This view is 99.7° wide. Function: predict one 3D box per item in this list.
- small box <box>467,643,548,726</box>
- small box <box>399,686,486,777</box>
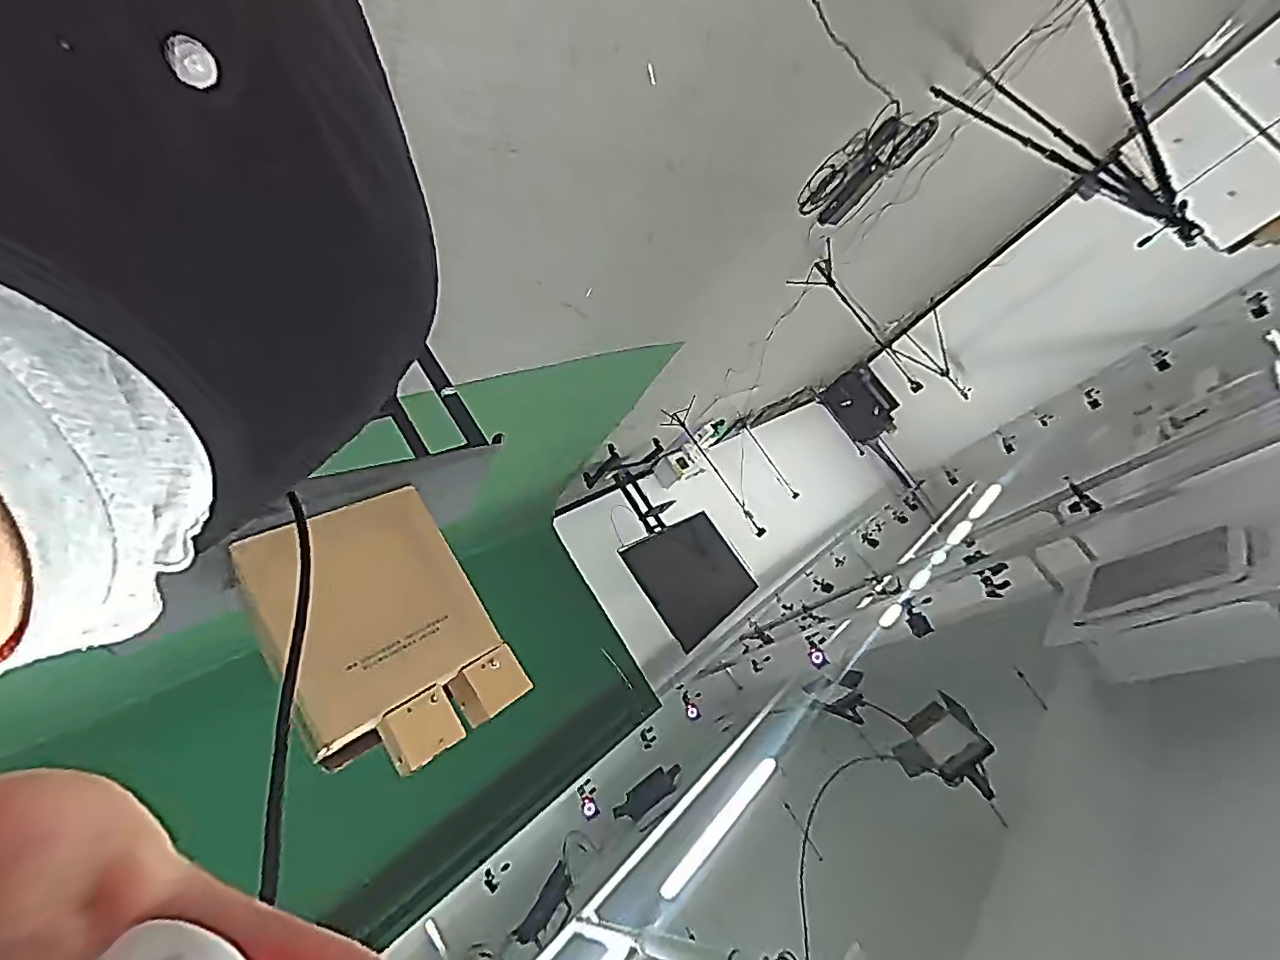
[{"bbox_3d":[-0.432,0.653,1.741,0.168,0.176,0.179,-29,166,-44],"label":"small box"},{"bbox_3d":[-0.585,0.732,1.586,0.168,0.176,0.179,-25,166,-41],"label":"small box"}]
